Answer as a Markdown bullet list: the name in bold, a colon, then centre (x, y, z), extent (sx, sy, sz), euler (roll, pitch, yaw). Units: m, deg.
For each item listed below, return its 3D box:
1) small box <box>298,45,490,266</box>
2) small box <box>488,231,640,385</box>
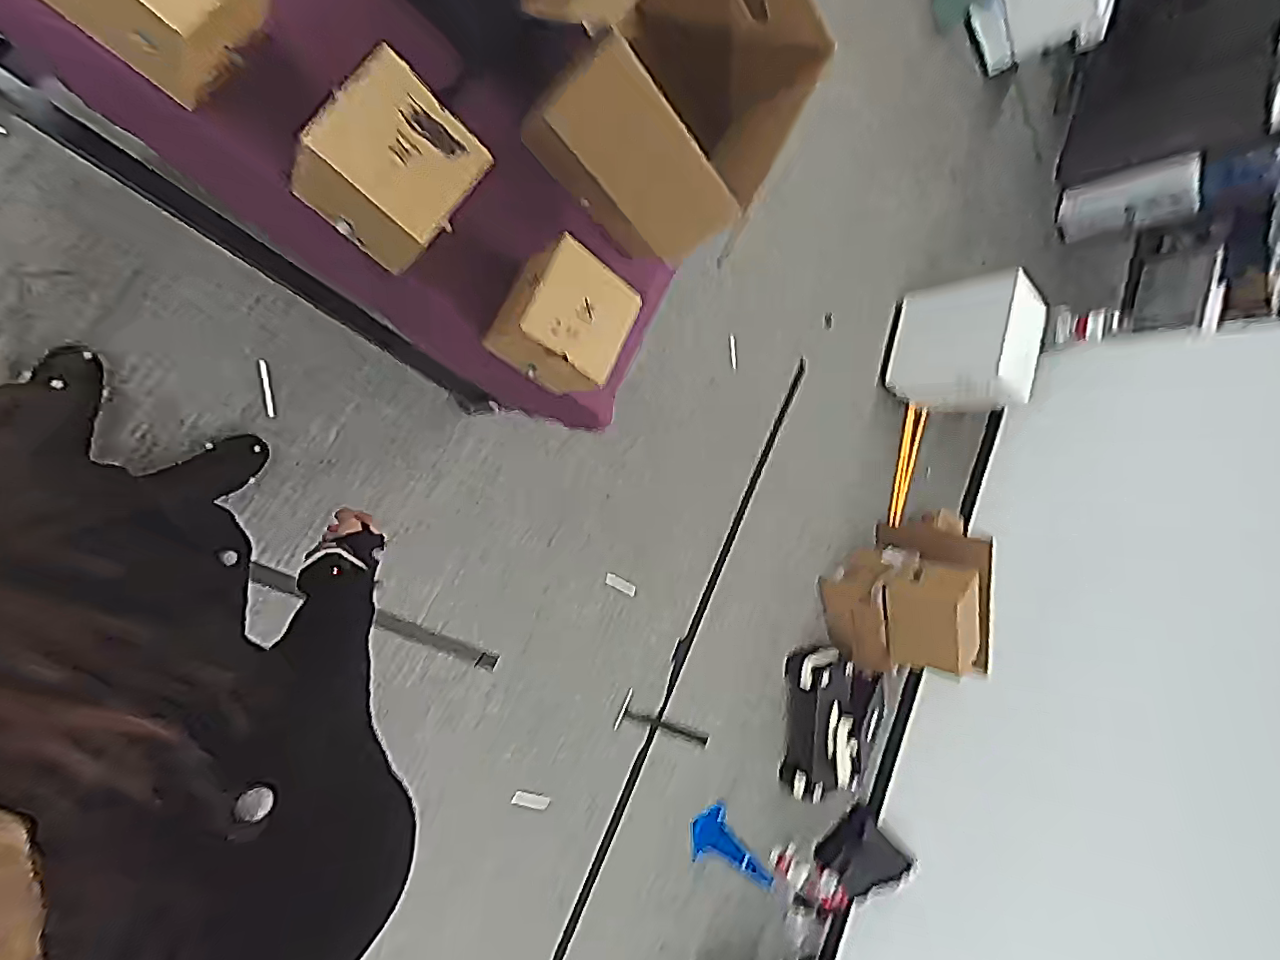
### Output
- **small box**: centre (-0.349, -0.435, 0.756), extent (0.168, 0.176, 0.179), euler (38, 73, -32)
- **small box**: centre (-0.135, -0.281, 0.925), extent (0.168, 0.176, 0.179), euler (31, 76, -33)
